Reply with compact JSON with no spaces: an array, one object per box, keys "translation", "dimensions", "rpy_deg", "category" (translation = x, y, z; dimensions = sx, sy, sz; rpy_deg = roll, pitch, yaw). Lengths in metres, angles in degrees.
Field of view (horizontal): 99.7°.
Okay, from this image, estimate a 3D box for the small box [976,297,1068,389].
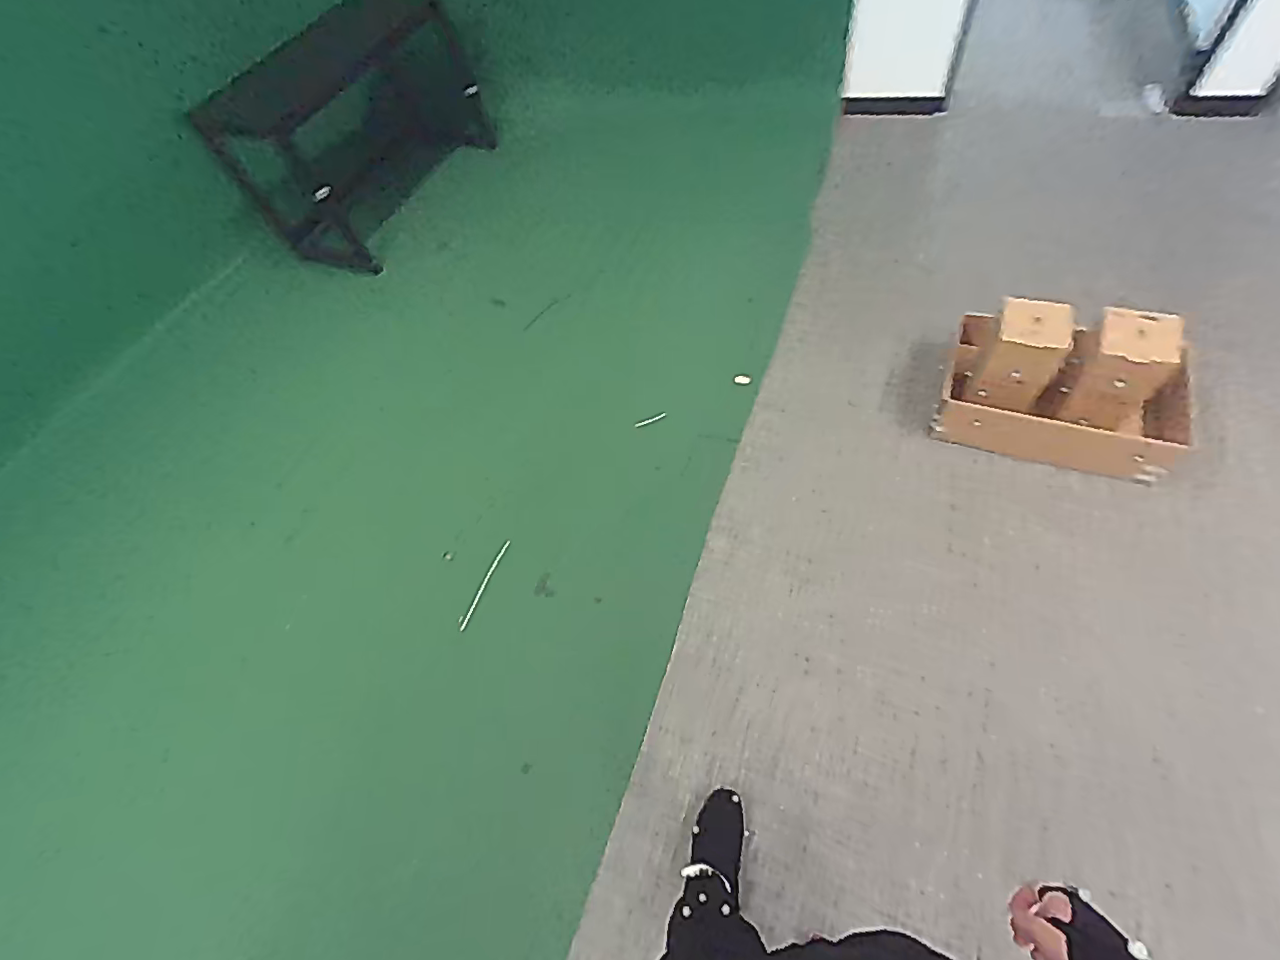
[{"translation":[1.088,-0.391,1.548],"dimensions":[0.168,0.176,0.179],"rpy_deg":[15,63,19],"category":"small box"}]
